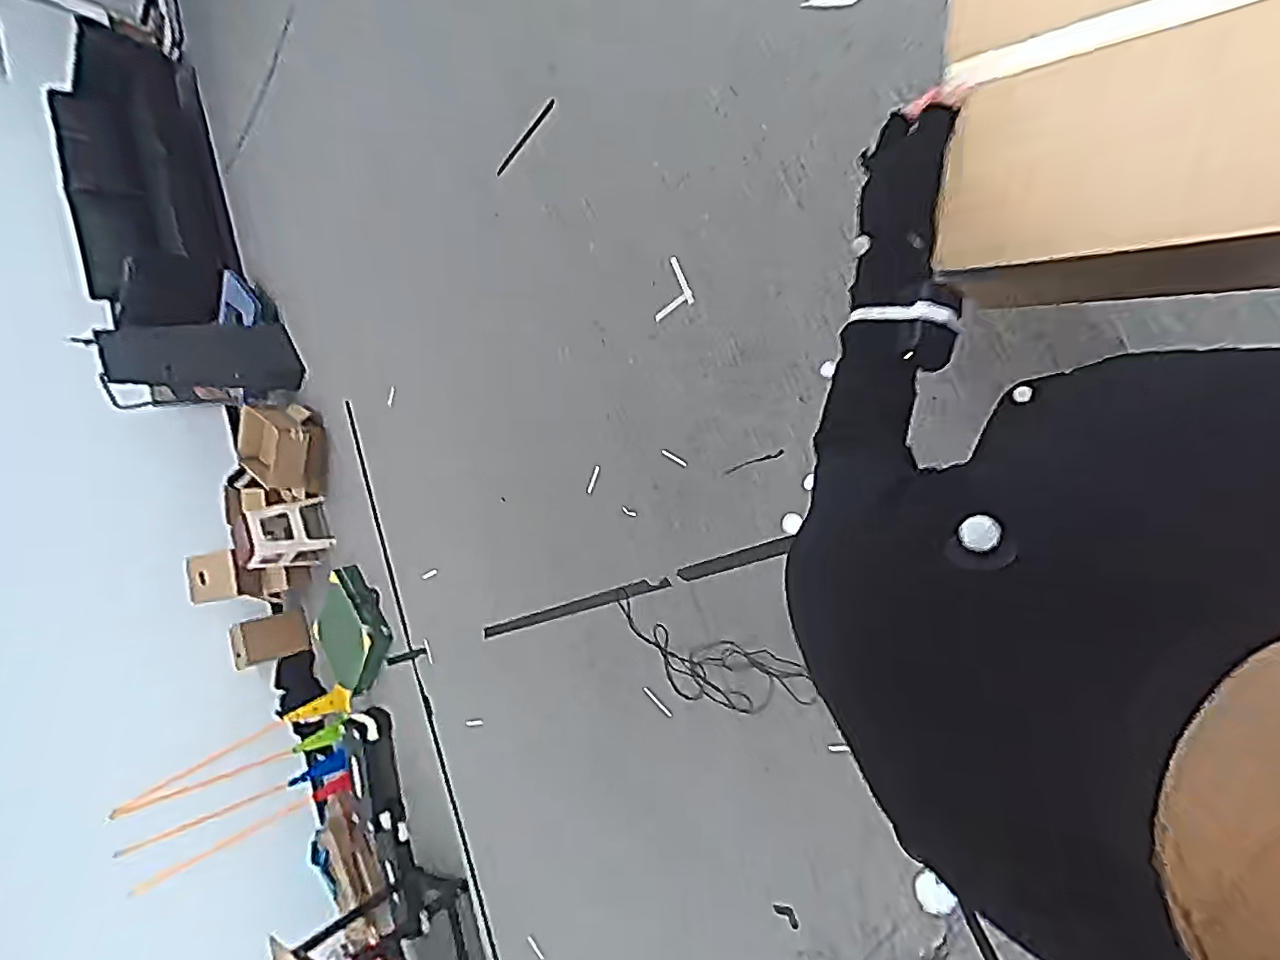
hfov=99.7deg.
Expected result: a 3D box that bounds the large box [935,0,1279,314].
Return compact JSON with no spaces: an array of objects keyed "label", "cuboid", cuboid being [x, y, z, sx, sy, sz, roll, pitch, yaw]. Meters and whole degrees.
[{"label":"large box","cuboid":[0.513,-0.344,0.475,0.408,0.320,0.320,5,101,38]}]
